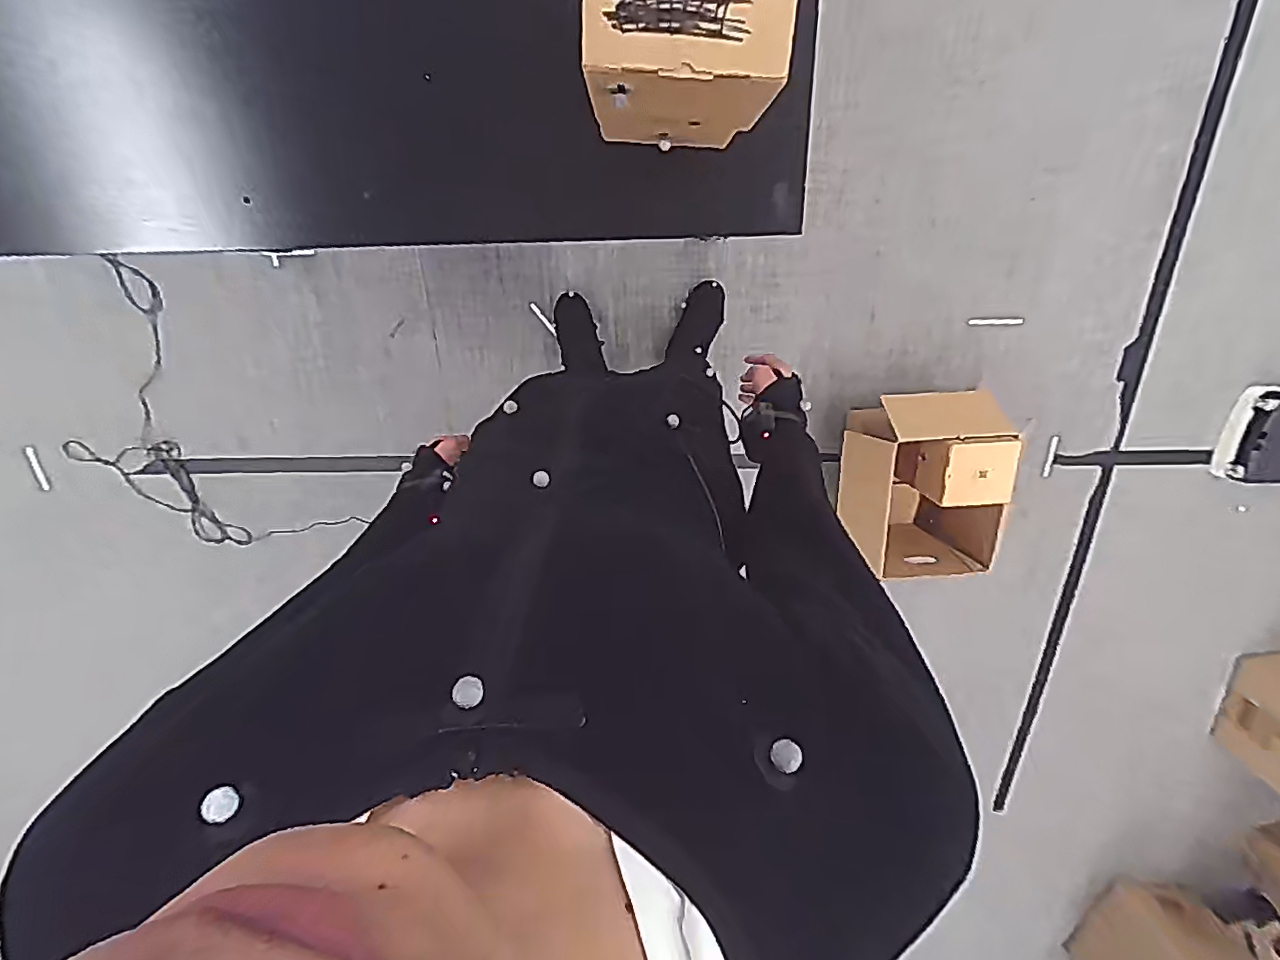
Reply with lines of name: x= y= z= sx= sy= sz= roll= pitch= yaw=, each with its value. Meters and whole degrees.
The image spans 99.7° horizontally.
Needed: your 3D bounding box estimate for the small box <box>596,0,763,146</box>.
small box: x=0.039 y=-0.502 z=0.611 sx=0.168 sy=0.176 sz=0.179 roll=3 pitch=112 yaw=-1
